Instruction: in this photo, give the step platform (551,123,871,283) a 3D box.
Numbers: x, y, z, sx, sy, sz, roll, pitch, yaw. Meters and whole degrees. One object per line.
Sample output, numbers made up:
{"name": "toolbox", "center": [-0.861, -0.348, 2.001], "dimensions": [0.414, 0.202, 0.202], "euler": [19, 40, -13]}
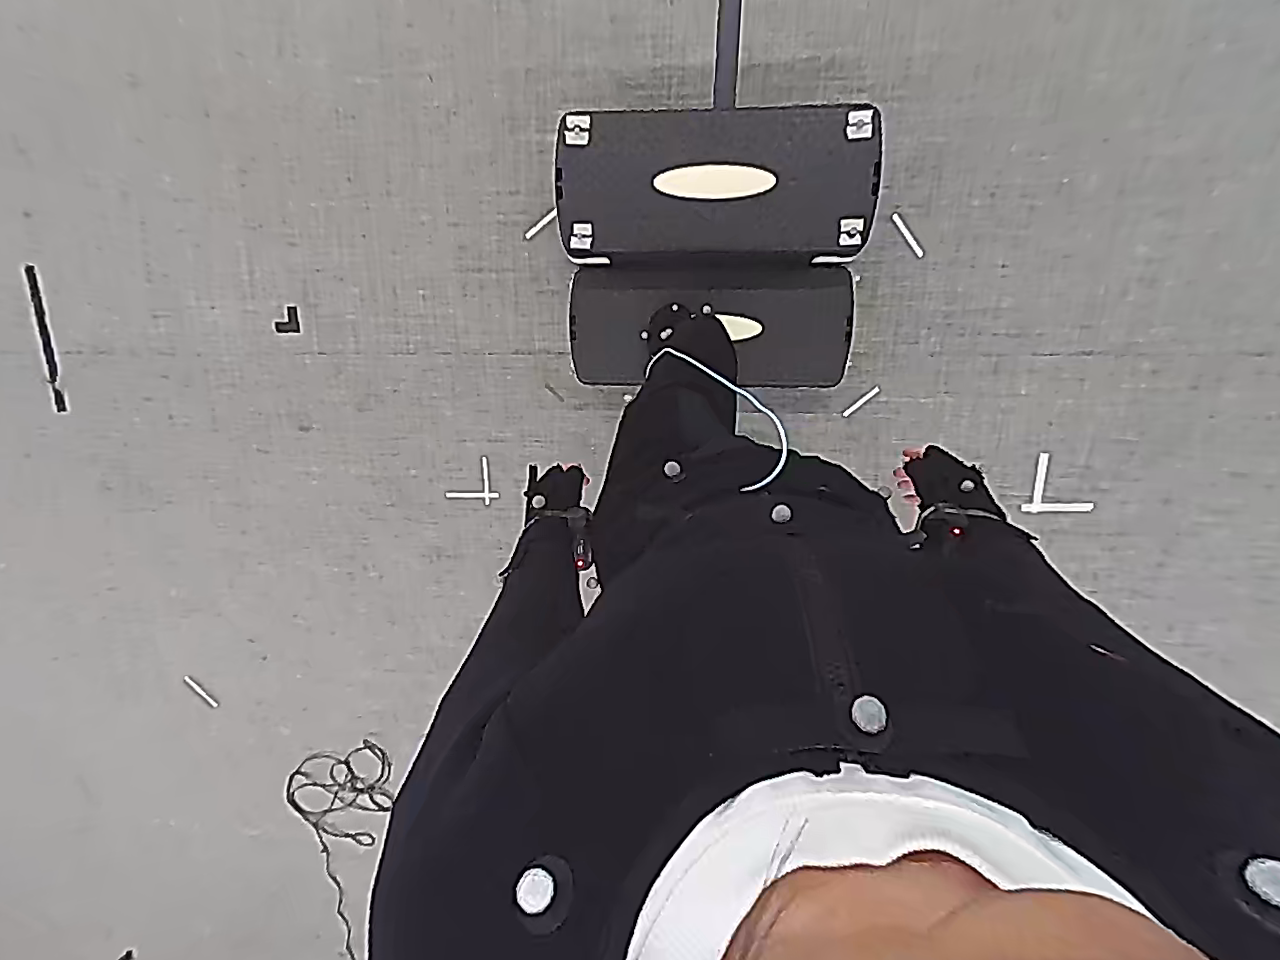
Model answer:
{"name": "step platform", "center": [0.146, -0.605, 1.207], "dimensions": [0.684, 0.204, 0.286], "euler": [0, 105, 4]}
